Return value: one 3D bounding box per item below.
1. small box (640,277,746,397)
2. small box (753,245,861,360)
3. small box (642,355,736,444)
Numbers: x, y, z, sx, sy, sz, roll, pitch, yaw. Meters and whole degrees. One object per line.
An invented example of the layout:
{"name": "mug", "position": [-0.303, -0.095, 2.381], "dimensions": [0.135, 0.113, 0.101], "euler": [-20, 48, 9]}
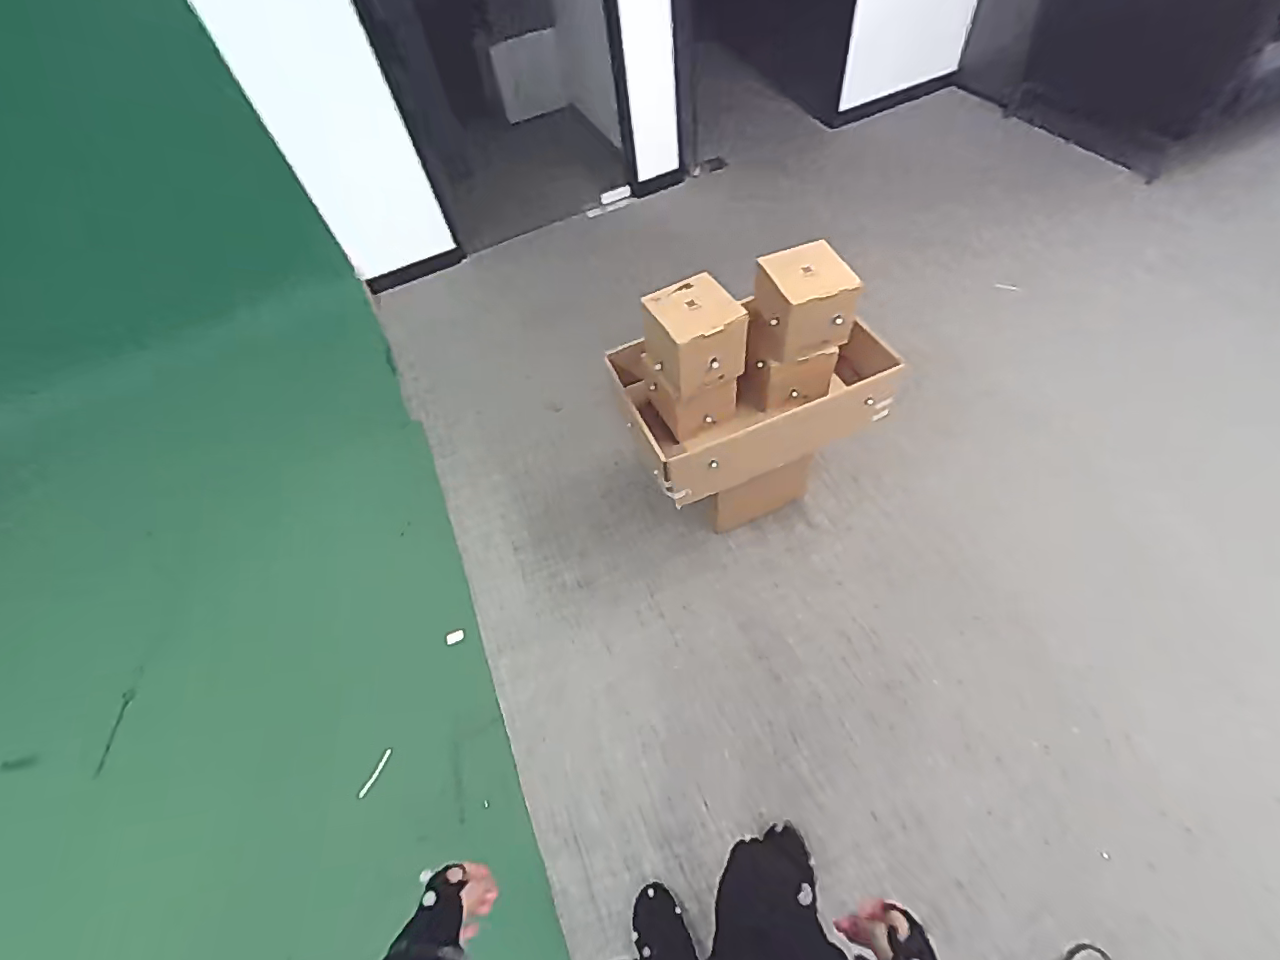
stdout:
{"name": "small box", "position": [0.116, -0.306, 1.194], "dimensions": [0.168, 0.176, 0.179], "euler": [-25, 57, -10]}
{"name": "small box", "position": [0.367, -0.393, 1.225], "dimensions": [0.168, 0.176, 0.179], "euler": [-17, 55, -6]}
{"name": "small box", "position": [0.119, -0.221, 1.334], "dimensions": [0.168, 0.176, 0.179], "euler": [-26, 56, -10]}
